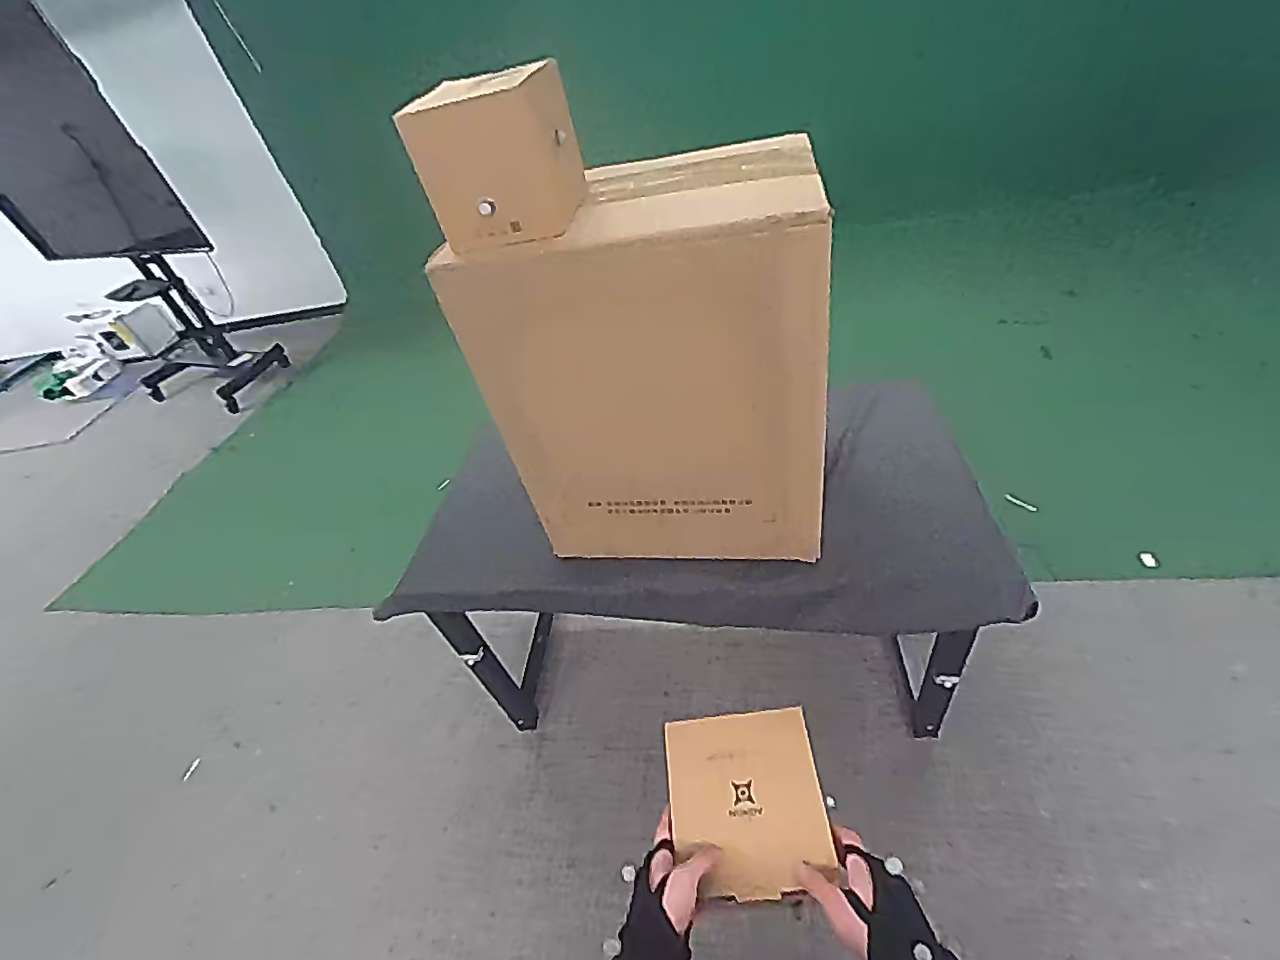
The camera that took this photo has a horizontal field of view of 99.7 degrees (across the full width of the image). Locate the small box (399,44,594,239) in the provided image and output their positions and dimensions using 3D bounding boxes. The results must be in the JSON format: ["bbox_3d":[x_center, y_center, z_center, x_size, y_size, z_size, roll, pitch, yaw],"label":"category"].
[{"bbox_3d":[-0.169,-0.439,0.710,0.168,0.176,0.179,-1,46,16],"label":"small box"}]

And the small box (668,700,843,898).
[{"bbox_3d":[0.131,0.385,0.646,0.168,0.176,0.179,-8,48,6],"label":"small box"}]
